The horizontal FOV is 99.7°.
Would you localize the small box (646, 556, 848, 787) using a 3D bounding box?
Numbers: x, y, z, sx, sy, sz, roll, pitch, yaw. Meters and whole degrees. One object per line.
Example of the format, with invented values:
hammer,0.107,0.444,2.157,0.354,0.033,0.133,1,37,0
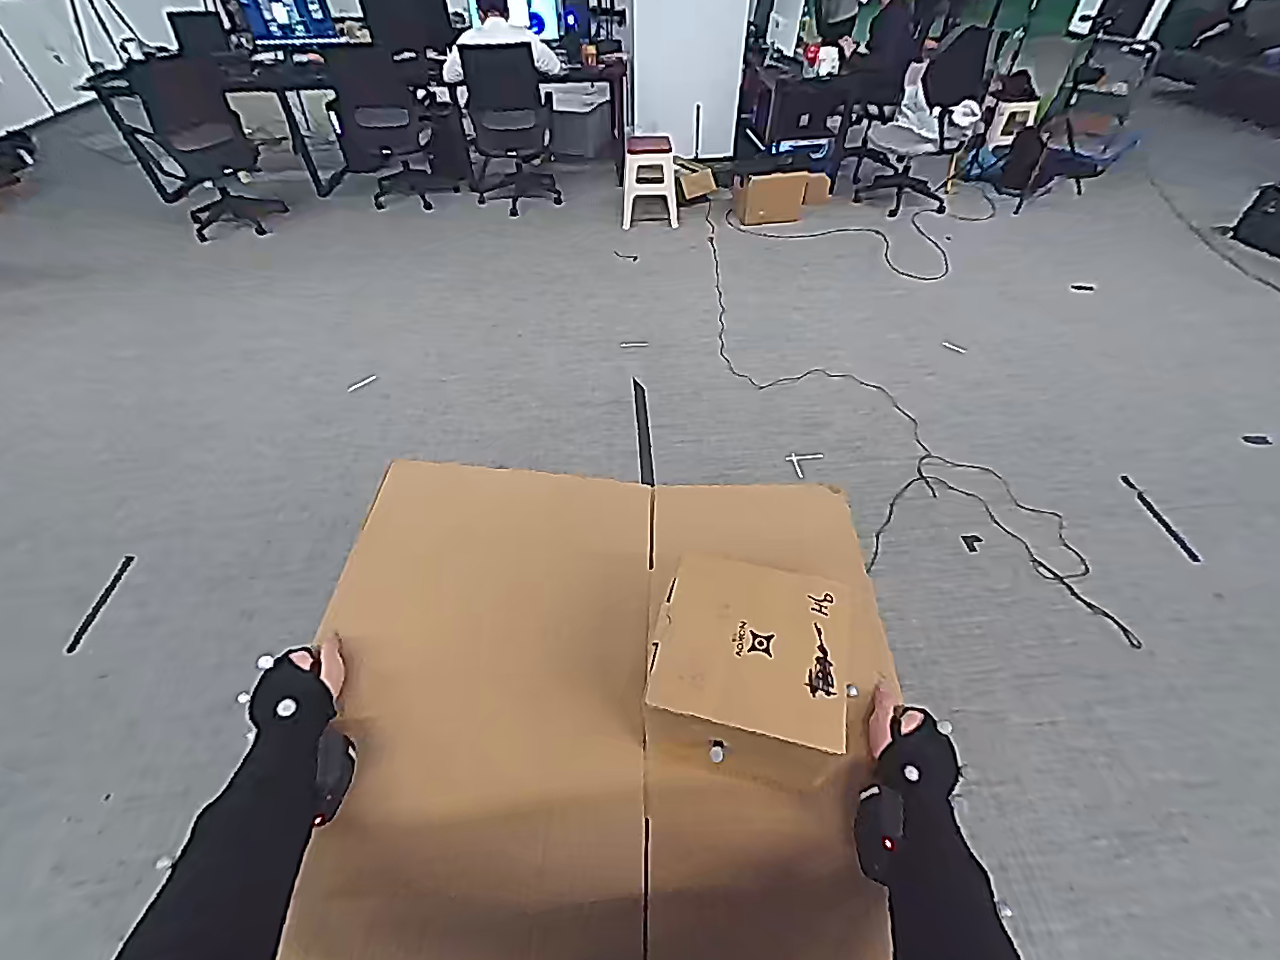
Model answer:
small box,0.115,0.207,0.582,0.179,0.176,0.168,9,50,13
